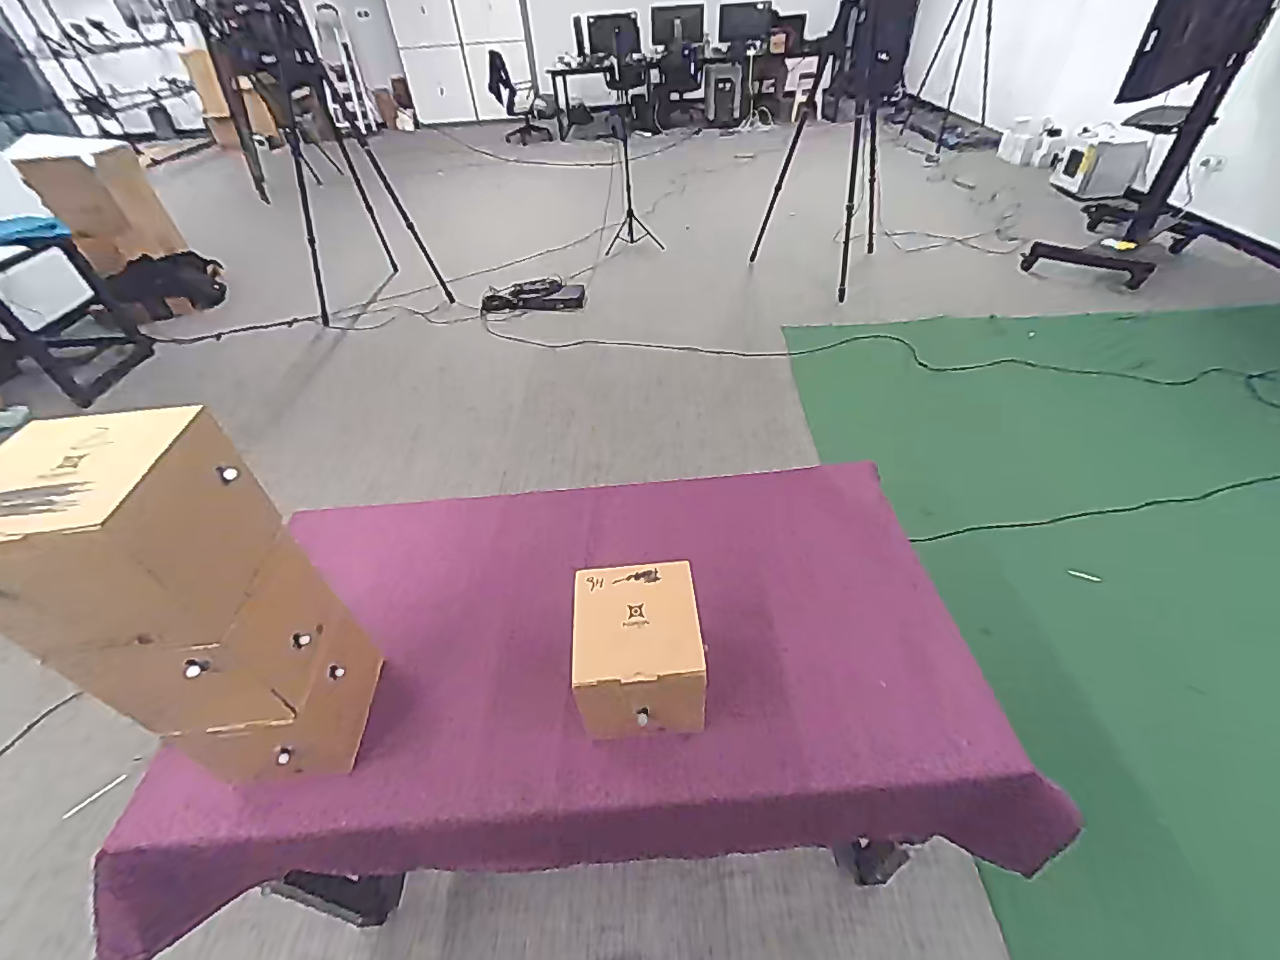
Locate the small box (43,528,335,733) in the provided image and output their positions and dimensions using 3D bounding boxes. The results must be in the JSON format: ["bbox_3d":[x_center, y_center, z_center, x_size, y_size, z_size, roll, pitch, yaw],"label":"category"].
[{"bbox_3d":[-0.503,0.180,0.642,0.179,0.176,0.168,-6,43,-4],"label":"small box"}]

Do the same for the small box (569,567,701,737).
[{"bbox_3d":[-0.003,0.247,0.766,0.168,0.176,0.179,-4,43,0],"label":"small box"}]

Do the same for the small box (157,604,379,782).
[{"bbox_3d":[-0.490,0.300,0.751,0.168,0.176,0.179,-5,42,-2],"label":"small box"}]
